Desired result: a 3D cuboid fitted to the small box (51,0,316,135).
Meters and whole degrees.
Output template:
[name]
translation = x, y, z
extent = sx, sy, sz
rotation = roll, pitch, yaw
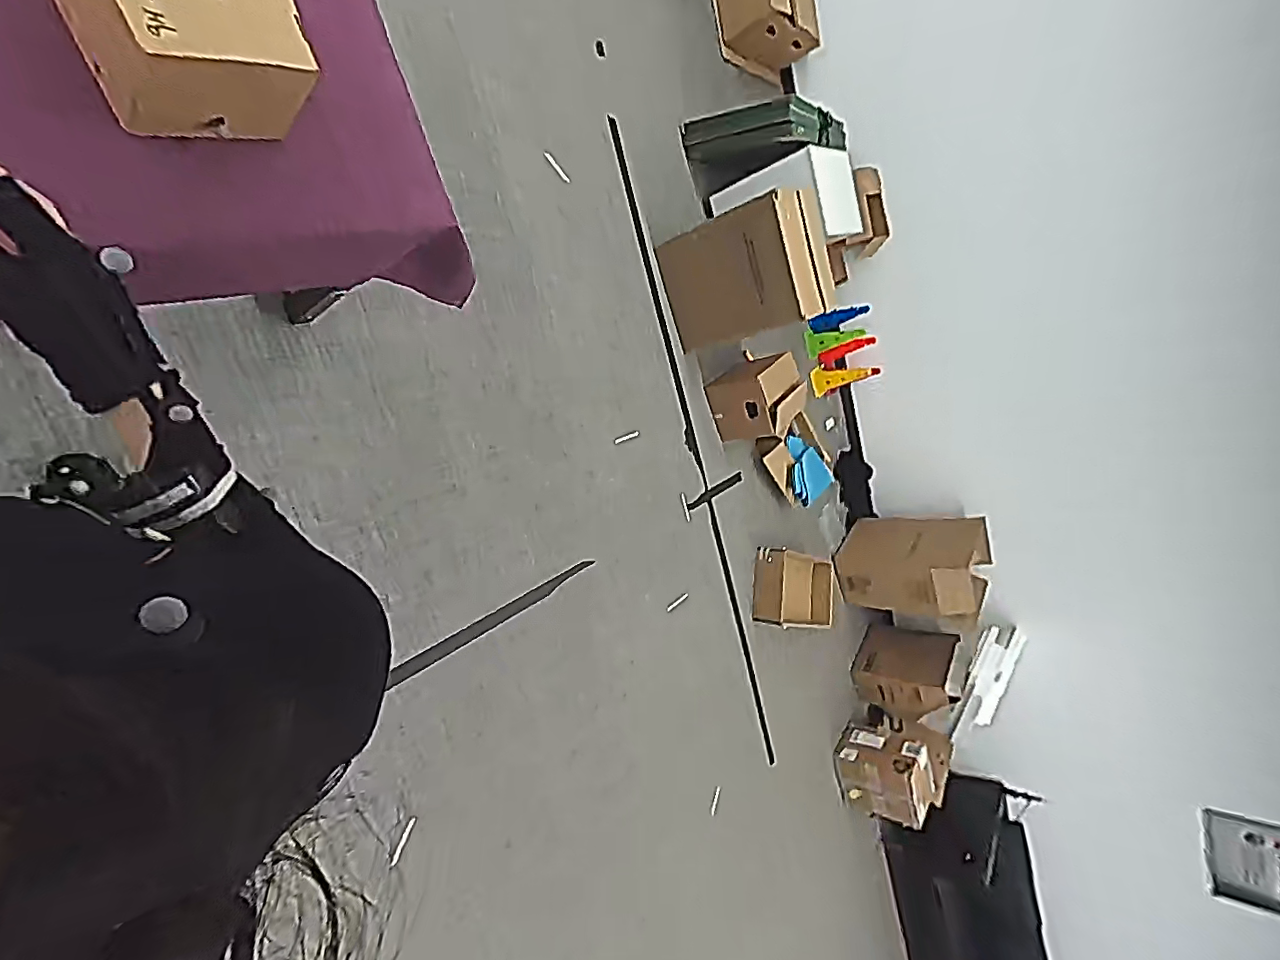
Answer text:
[small box]
translation = -0.518, -0.520, 0.613
extent = 0.179, 0.176, 0.168
rotation = -35, 112, -45
